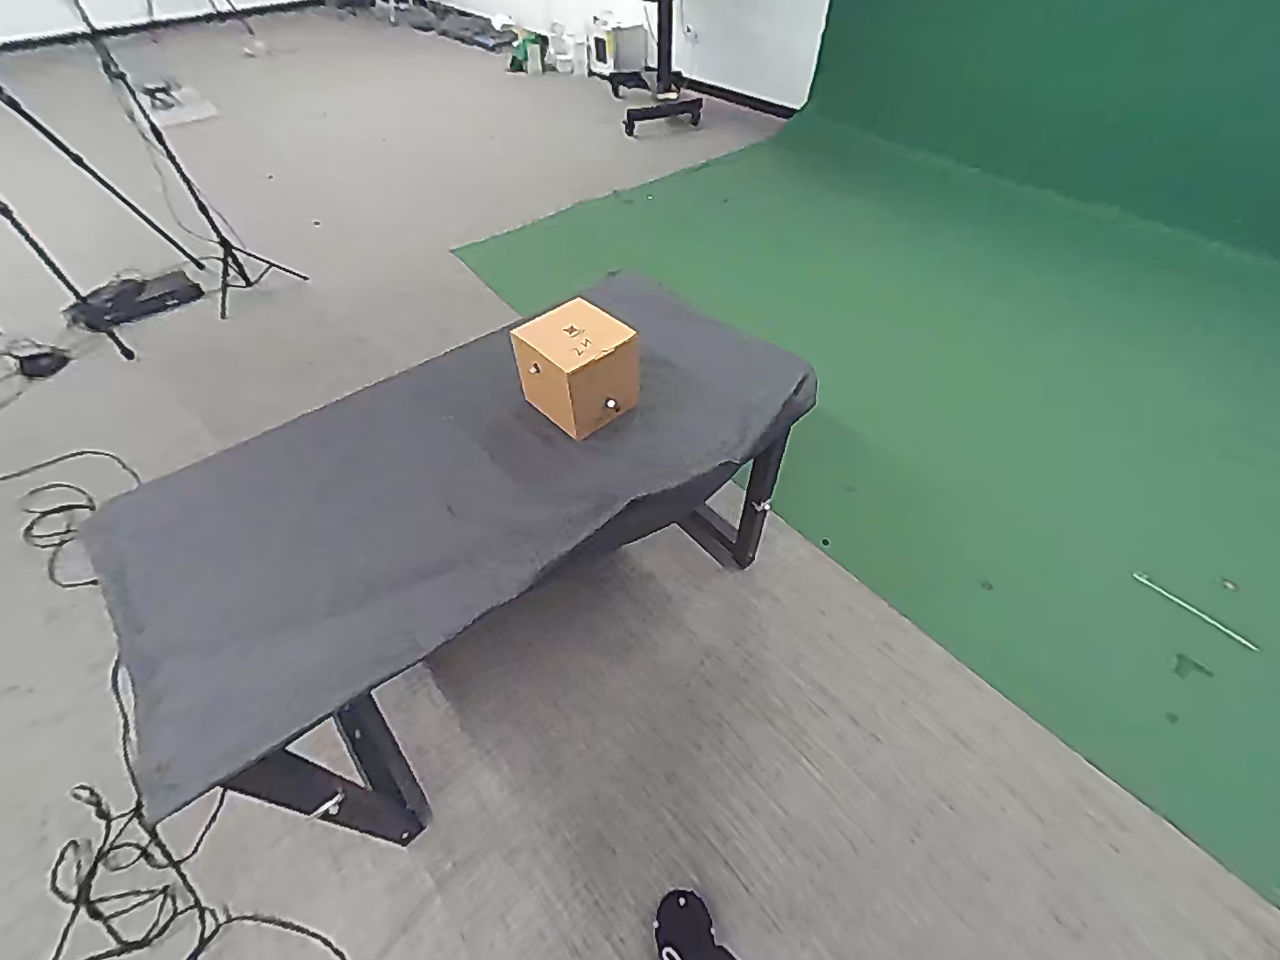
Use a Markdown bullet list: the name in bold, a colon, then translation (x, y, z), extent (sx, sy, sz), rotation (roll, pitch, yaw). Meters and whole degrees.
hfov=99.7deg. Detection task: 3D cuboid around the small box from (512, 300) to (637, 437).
- **small box**: translation (-0.121, -0.215, 1.048), extent (0.168, 0.176, 0.179), rotation (-36, 58, -25)
